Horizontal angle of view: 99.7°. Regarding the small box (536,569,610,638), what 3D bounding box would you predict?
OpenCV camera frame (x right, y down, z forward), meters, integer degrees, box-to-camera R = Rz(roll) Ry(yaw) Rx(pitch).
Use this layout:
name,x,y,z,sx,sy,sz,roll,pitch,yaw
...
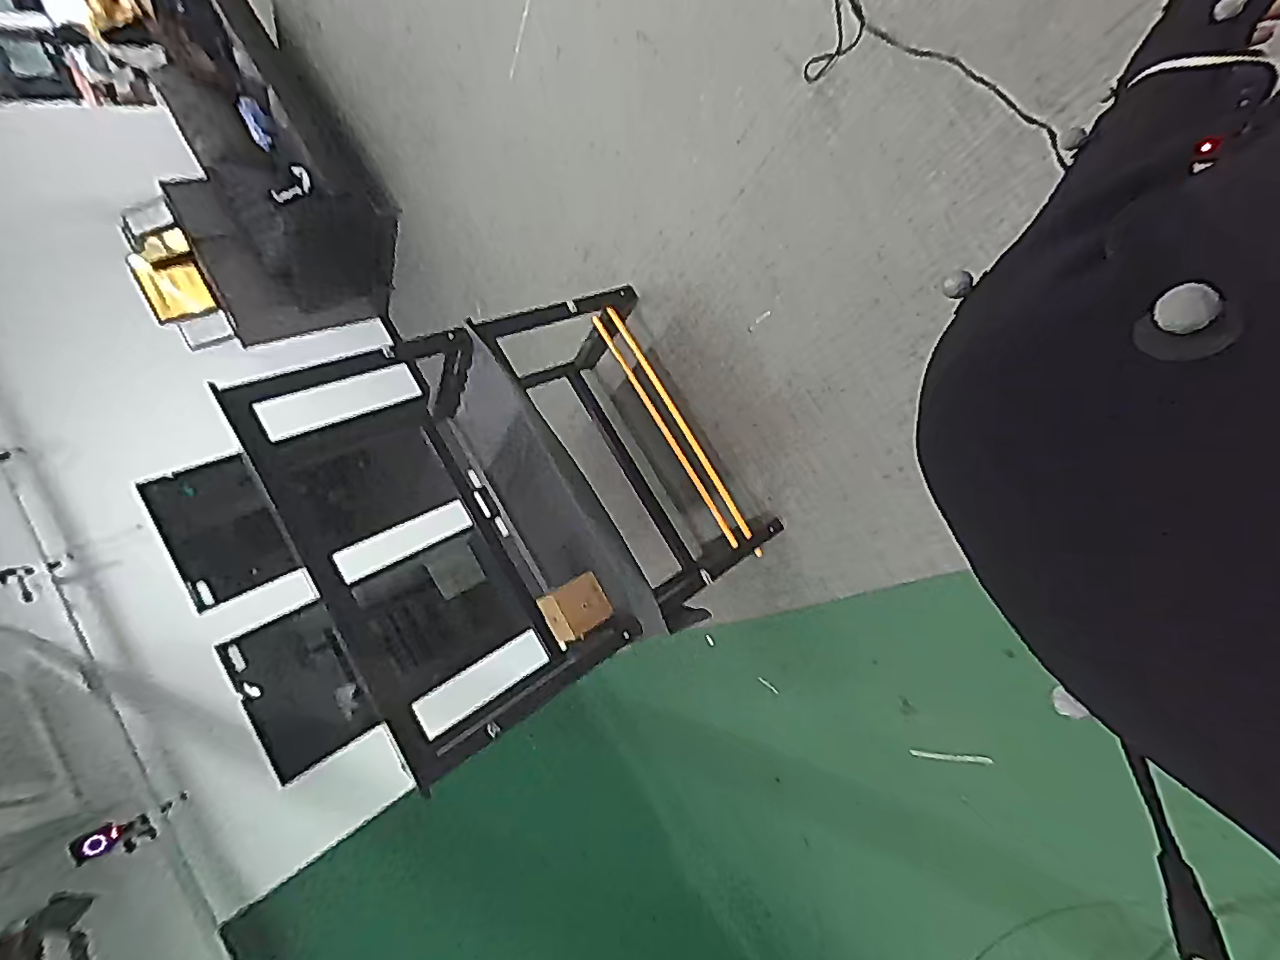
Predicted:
name,x,y,z,sx,sy,sz,roll,pitch,yaw
small box,-0.224,0.423,1.855,0.168,0.176,0.179,61,147,4
